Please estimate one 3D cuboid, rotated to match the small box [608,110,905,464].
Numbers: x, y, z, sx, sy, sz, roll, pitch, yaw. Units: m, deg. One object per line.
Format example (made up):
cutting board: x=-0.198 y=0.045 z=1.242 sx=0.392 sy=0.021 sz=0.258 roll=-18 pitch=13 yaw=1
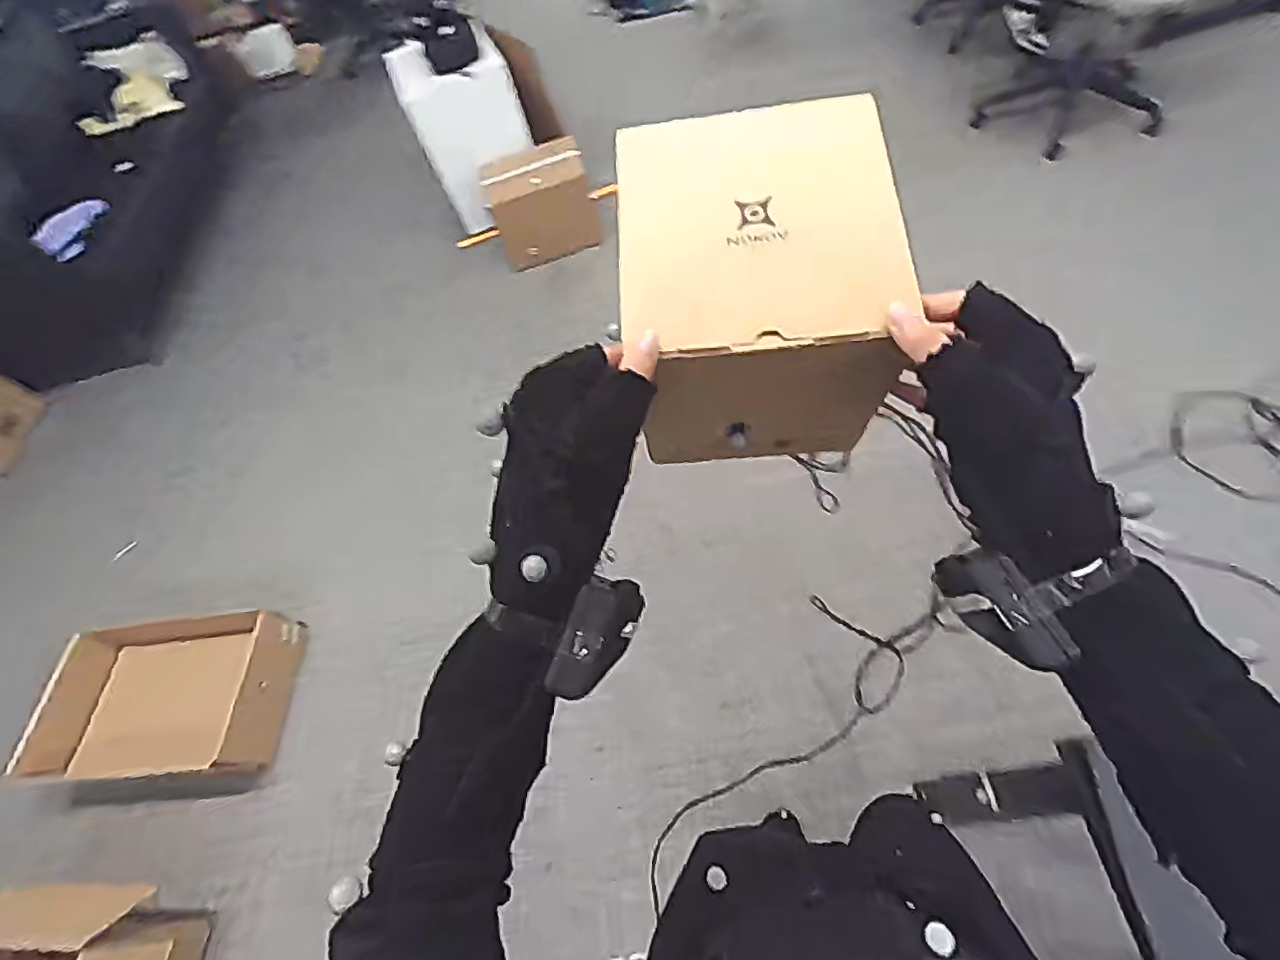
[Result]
small box: x=0.071 y=-0.128 z=0.406 sx=0.168 sy=0.176 sz=0.179 roll=-5 pitch=70 yaw=6
